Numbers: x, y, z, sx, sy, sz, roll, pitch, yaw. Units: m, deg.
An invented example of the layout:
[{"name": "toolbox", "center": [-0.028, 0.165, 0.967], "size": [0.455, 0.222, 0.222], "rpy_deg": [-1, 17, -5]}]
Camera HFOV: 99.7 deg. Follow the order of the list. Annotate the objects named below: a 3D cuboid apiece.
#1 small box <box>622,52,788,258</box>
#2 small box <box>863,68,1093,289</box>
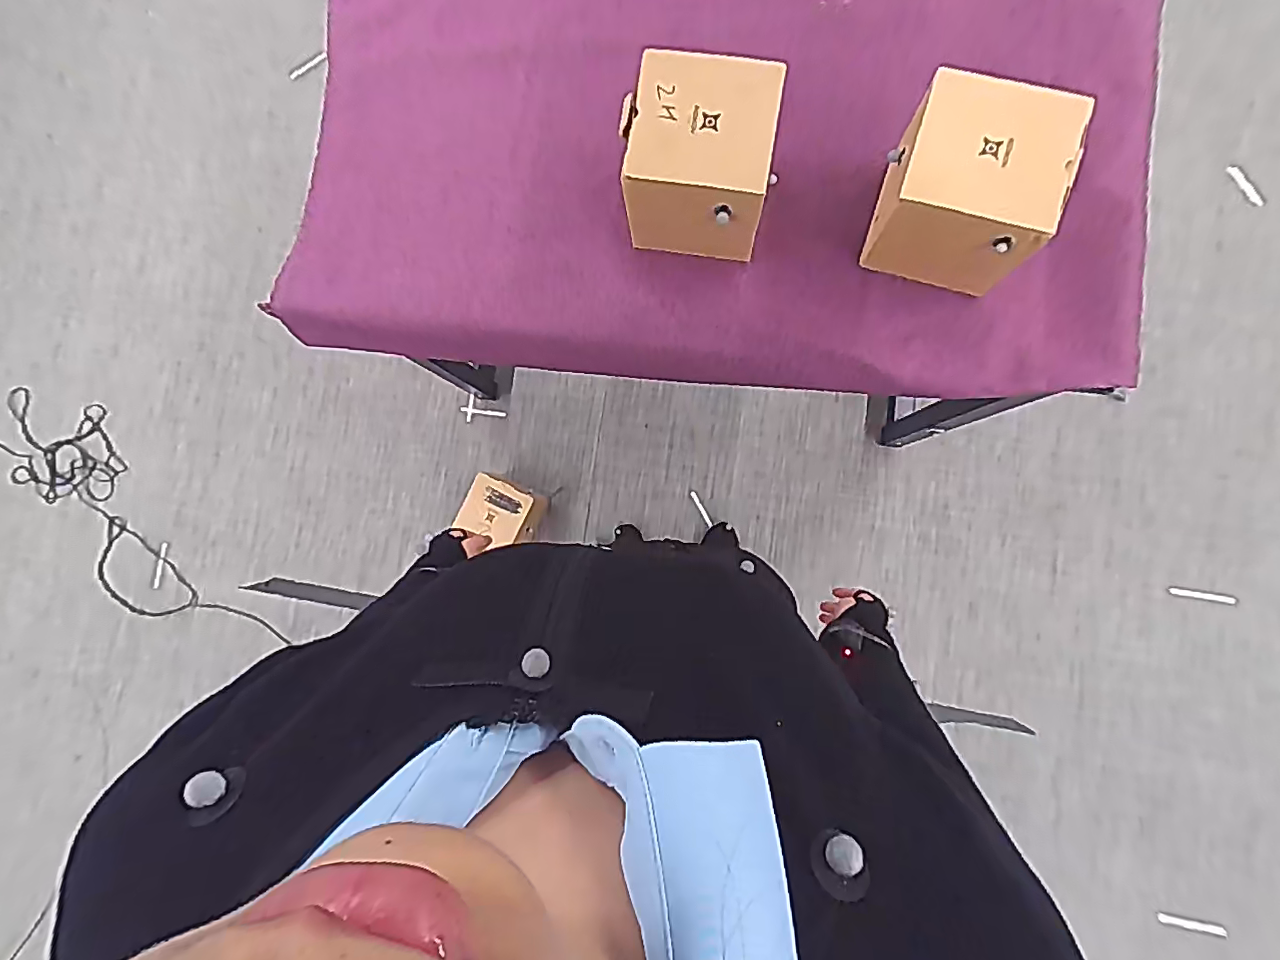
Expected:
[{"name": "small box", "center": [0.084, -0.418, 0.723], "size": [0.179, 0.176, 0.168], "rpy_deg": [10, 86, 6]}, {"name": "small box", "center": [0.409, -0.367, 0.689], "size": [0.179, 0.176, 0.168], "rpy_deg": [17, 87, 6]}]
